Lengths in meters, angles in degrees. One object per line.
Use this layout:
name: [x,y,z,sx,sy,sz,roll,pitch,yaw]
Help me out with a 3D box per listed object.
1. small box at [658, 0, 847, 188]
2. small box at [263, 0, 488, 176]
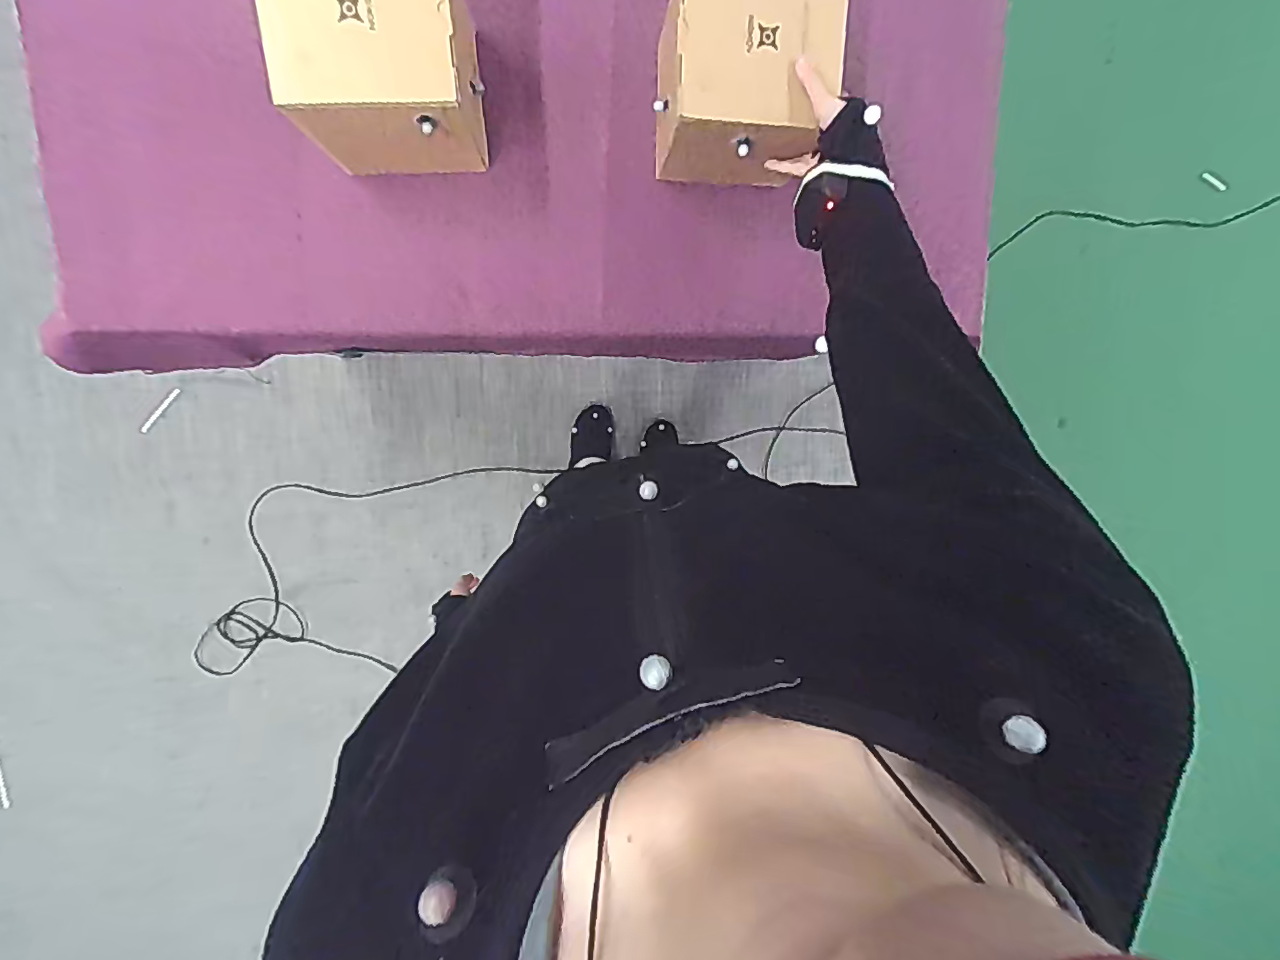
small box: [0.118,-0.462,0.634,0.179,0.176,0.168,1,99,-7]
small box: [-0.276,-0.454,0.594,0.179,0.176,0.168,-6,99,-6]
